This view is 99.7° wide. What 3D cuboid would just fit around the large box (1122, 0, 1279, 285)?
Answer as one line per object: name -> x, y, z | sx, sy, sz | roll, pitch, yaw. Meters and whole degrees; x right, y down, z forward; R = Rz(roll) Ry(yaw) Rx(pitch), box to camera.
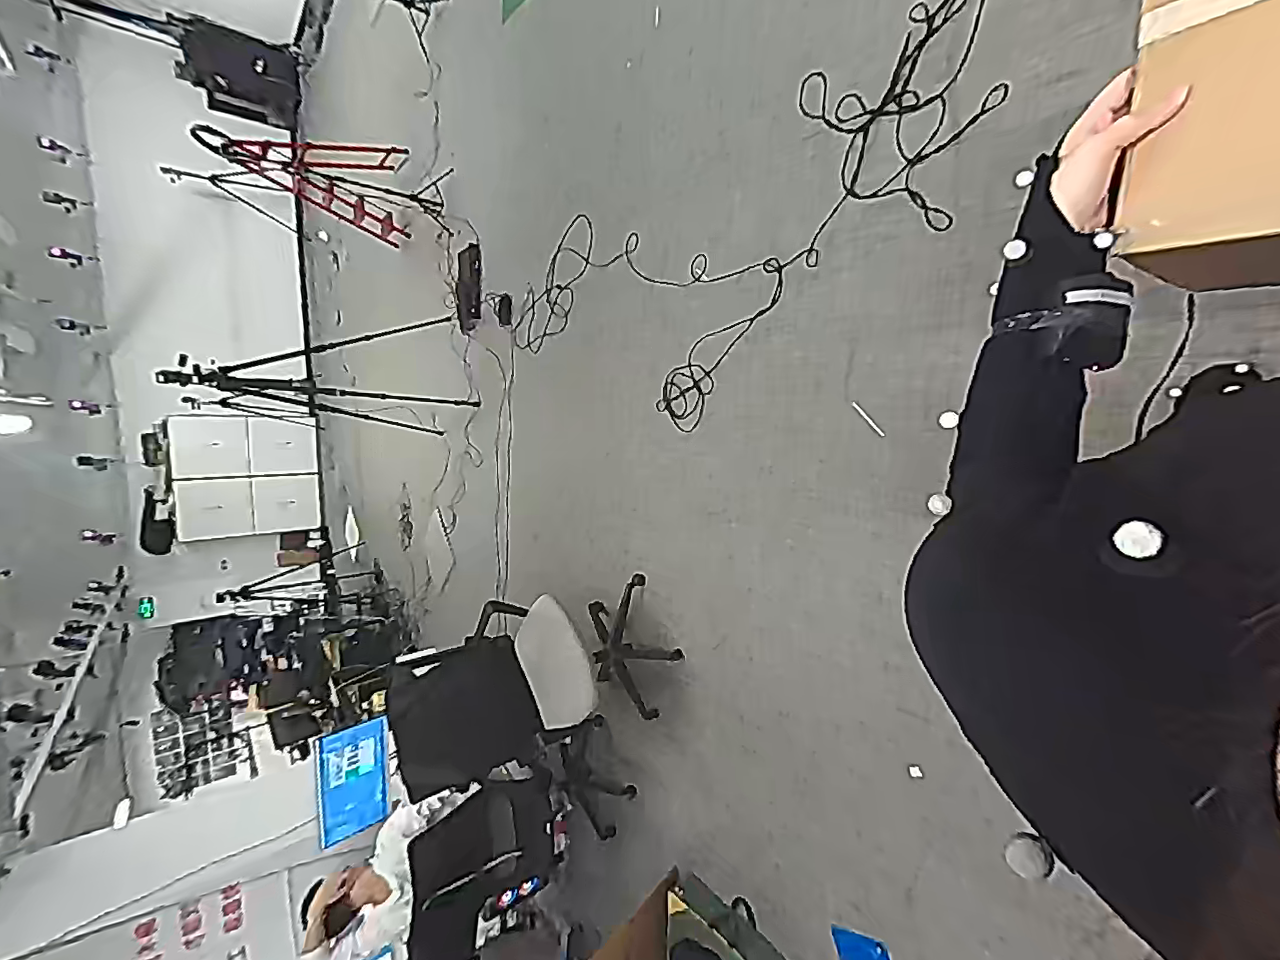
large box -> 0.626, -0.323, 0.340 | 0.408, 0.320, 0.320 | 13, 107, 53
